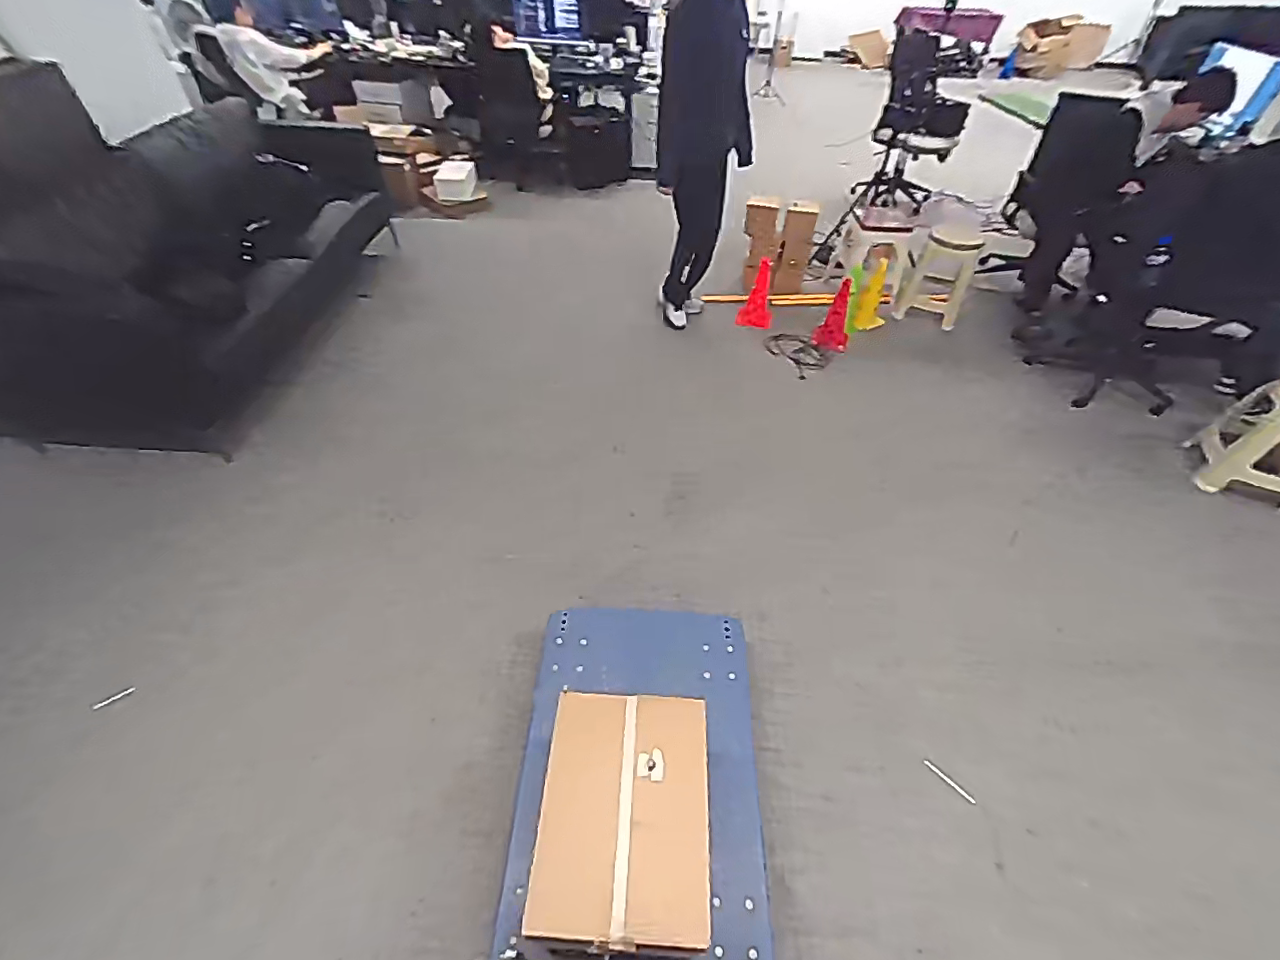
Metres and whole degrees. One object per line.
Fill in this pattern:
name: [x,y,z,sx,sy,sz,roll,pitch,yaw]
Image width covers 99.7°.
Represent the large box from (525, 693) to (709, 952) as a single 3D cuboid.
large box: [-0.034,0.712,1.134,0.320,0.320,0.408,3,45,1]
